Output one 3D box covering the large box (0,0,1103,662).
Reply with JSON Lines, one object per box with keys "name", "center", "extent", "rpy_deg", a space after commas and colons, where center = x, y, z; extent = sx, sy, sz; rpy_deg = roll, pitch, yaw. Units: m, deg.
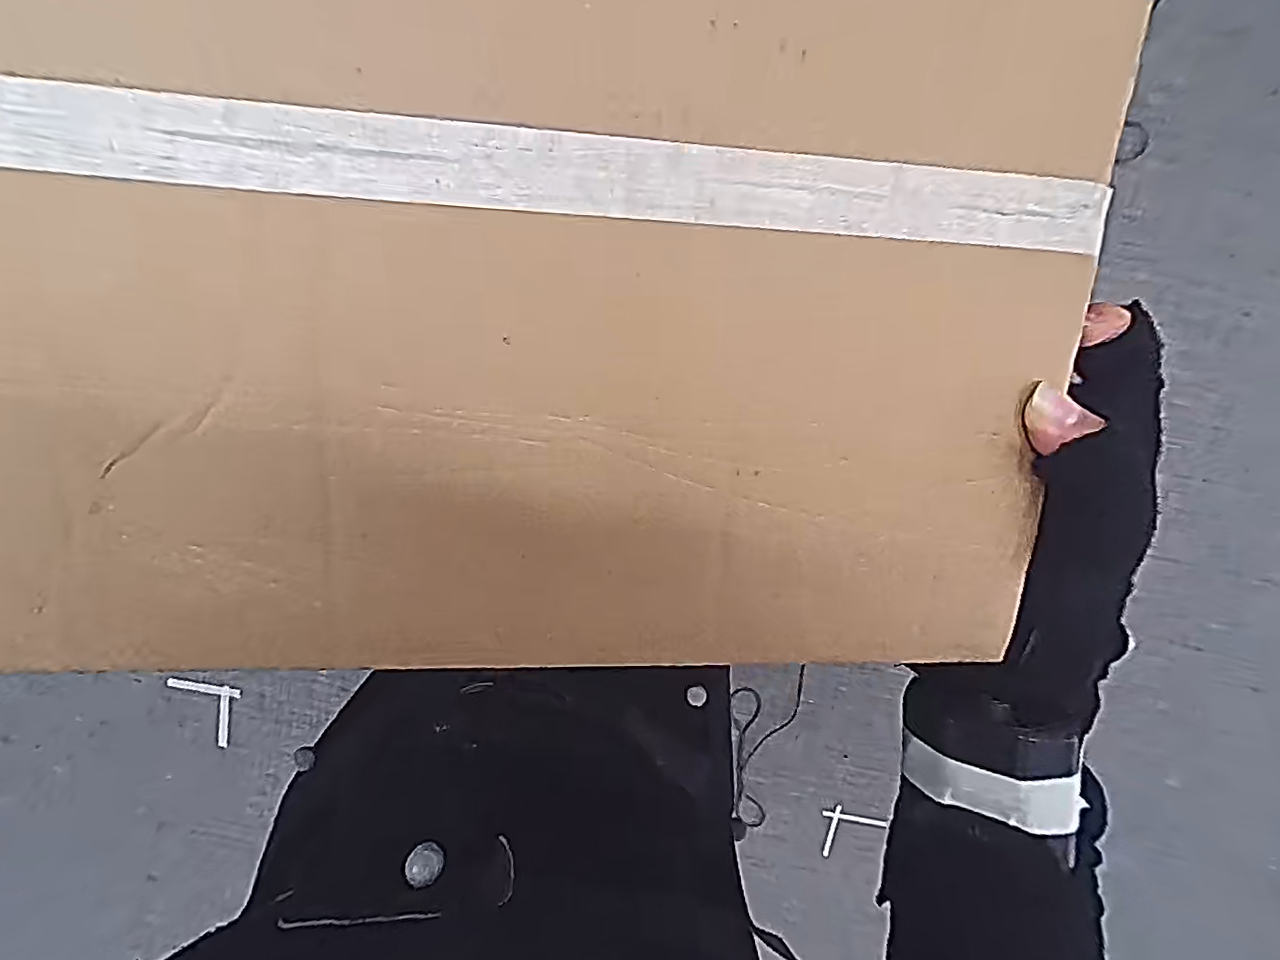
{"name": "large box", "center": [-0.073, -0.121, 0.307], "extent": [0.408, 0.320, 0.320], "rpy_deg": [2, 103, -7]}
